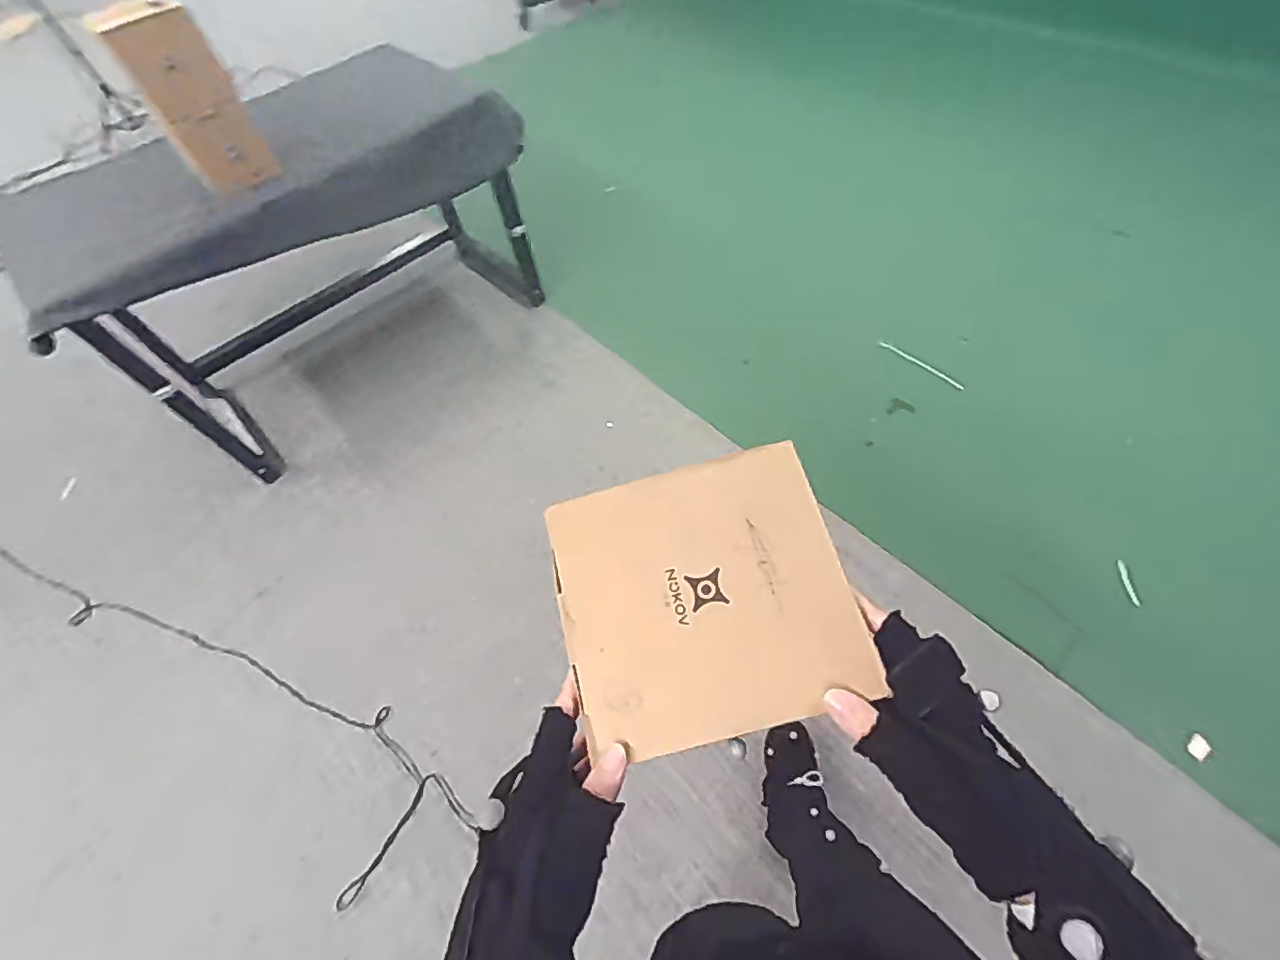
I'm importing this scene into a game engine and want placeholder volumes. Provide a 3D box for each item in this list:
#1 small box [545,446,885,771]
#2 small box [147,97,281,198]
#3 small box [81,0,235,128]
[{"bbox_3d":[0.046,0.102,0.411,0.179,0.176,0.168,-17,68,-1],"label":"small box"},{"bbox_3d":[-1.020,-0.816,1.310,0.179,0.176,0.168,39,69,25],"label":"small box"},{"bbox_3d":[-1.028,-0.906,1.172,0.179,0.176,0.168,-41,62,-18],"label":"small box"}]
